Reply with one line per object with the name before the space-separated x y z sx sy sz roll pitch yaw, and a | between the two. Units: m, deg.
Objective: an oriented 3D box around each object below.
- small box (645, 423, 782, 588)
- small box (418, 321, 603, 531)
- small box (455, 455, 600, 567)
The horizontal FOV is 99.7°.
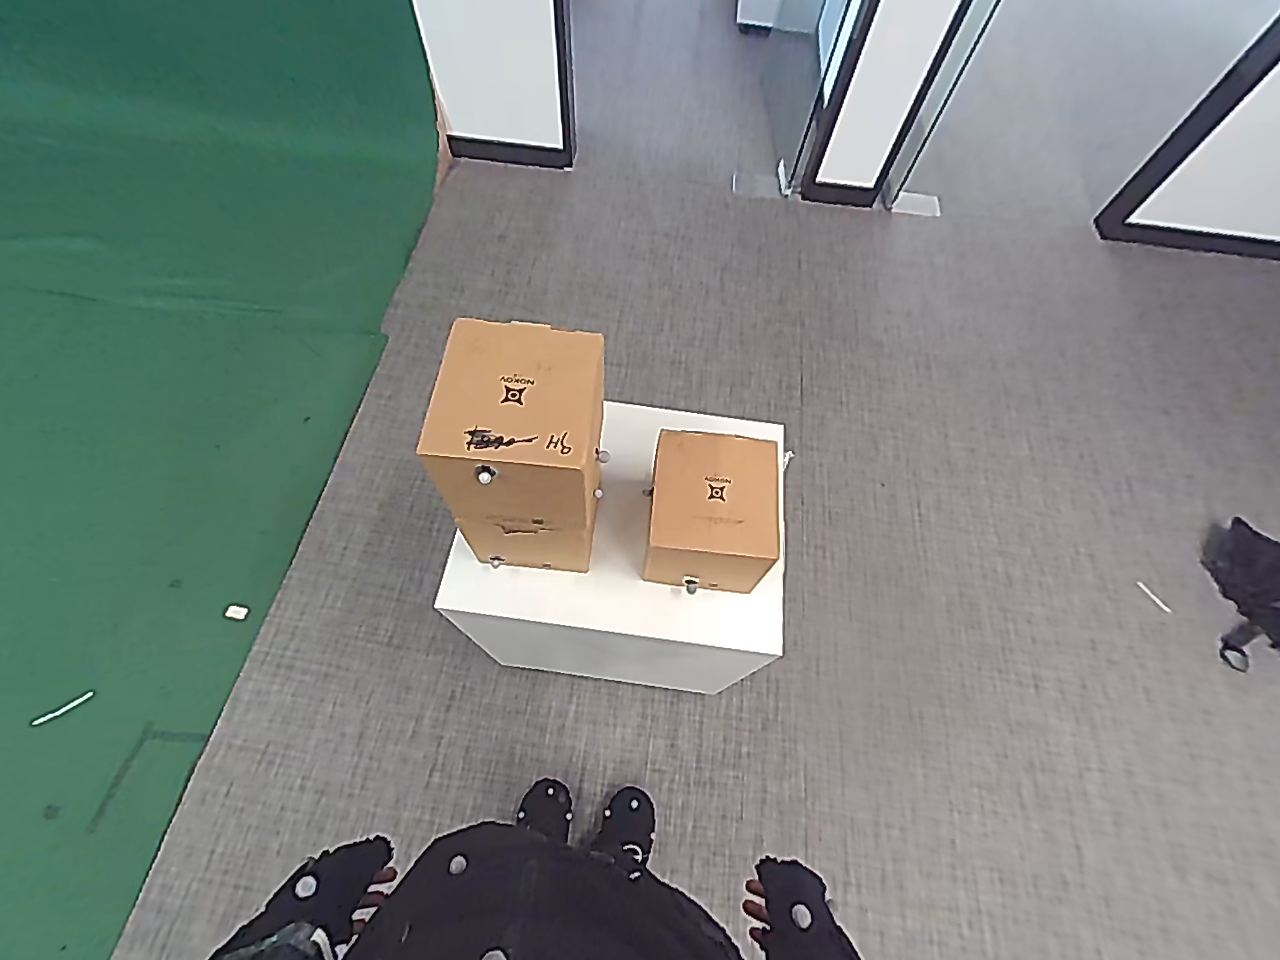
small box | 0.097 0.042 0.767 0.168 0.176 0.179 4 65 1
small box | -0.135 -0.057 0.637 0.168 0.176 0.179 5 62 -1
small box | -0.148 0.016 0.781 0.168 0.176 0.179 5 62 -1
